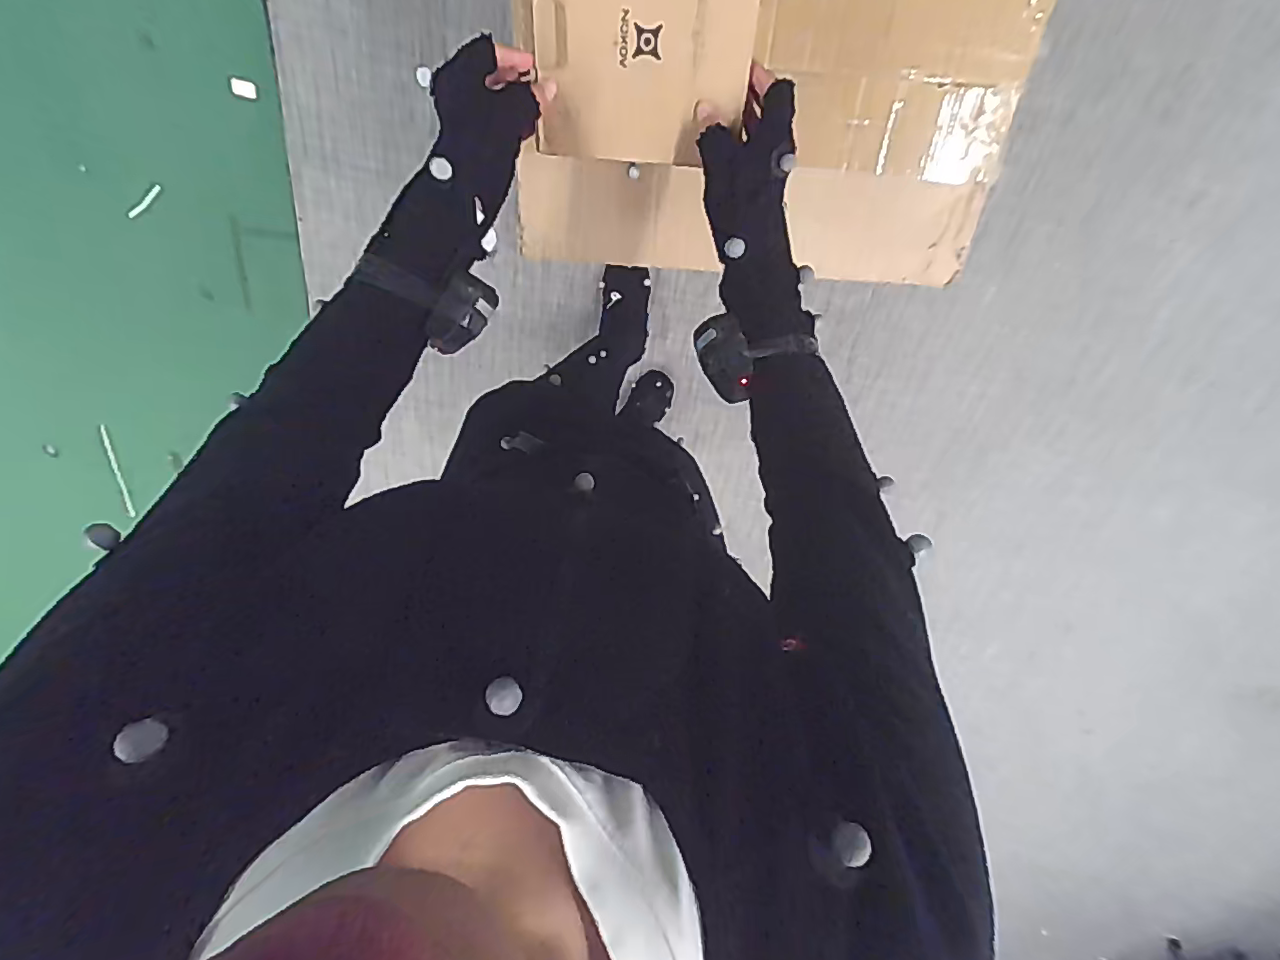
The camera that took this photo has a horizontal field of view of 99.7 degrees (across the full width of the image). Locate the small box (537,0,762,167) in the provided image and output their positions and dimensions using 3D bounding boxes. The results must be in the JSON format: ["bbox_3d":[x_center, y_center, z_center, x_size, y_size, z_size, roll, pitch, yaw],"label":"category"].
[{"bbox_3d":[0.009,-0.388,0.494,0.179,0.176,0.168,4,122,0],"label":"small box"}]
